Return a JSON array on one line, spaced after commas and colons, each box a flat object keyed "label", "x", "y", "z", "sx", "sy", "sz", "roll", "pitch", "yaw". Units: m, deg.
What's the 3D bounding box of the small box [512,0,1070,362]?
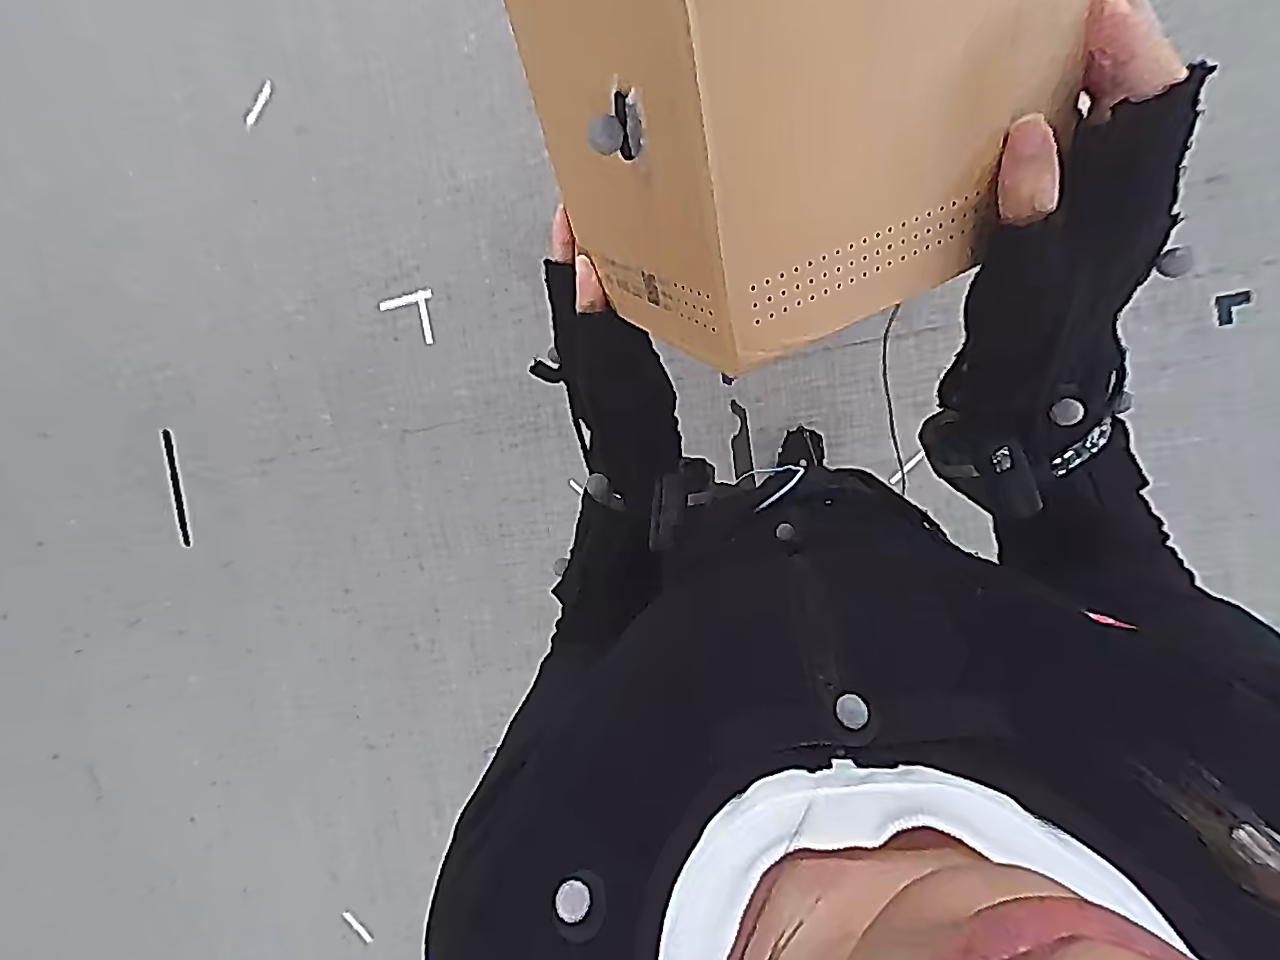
[{"label": "small box", "x": 0.064, "y": -0.175, "z": 0.250, "sx": 0.179, "sy": 0.168, "sz": 0.176, "roll": -26, "pitch": 126, "yaw": -12}]
